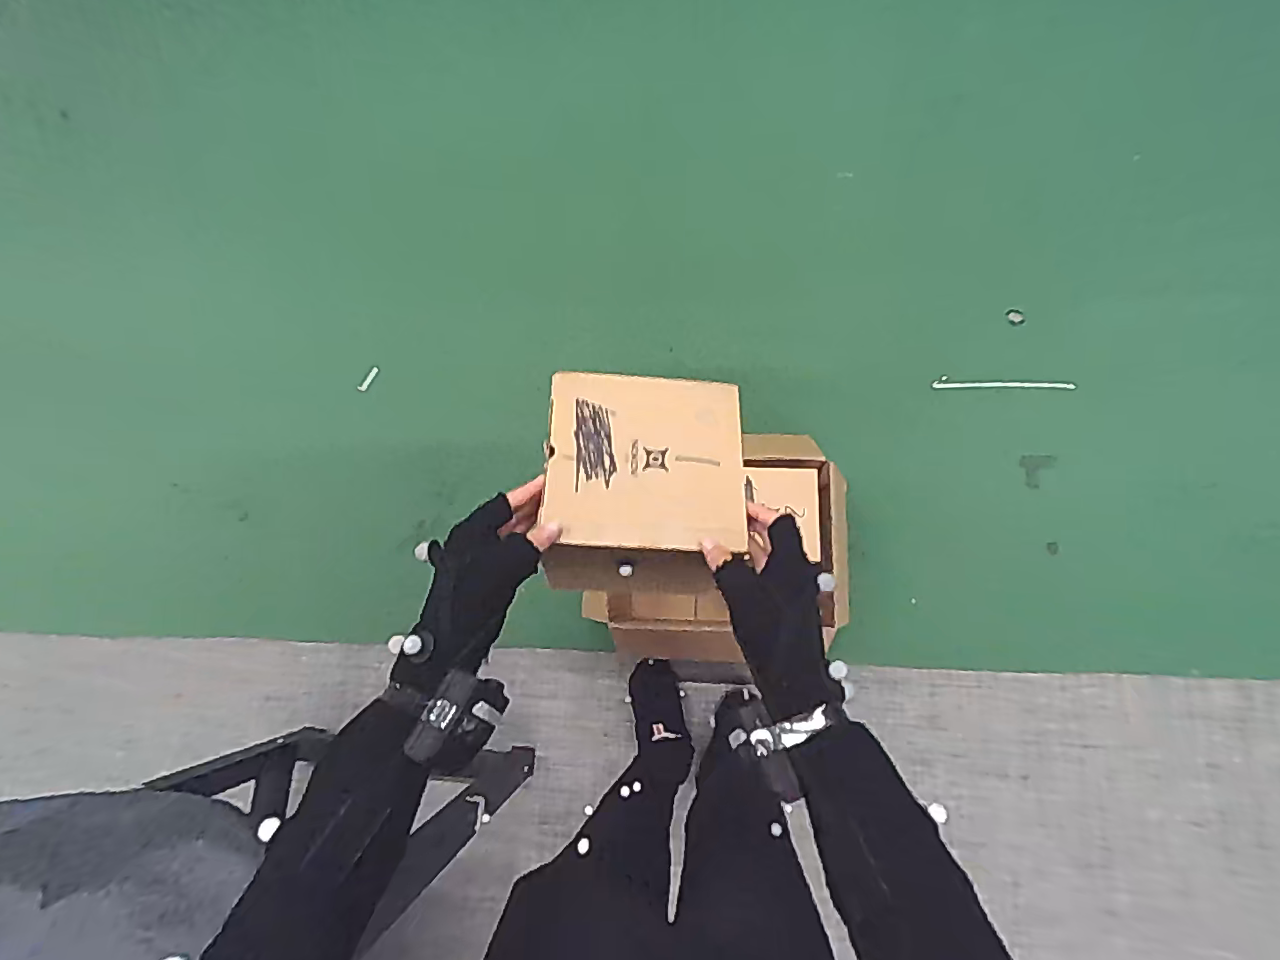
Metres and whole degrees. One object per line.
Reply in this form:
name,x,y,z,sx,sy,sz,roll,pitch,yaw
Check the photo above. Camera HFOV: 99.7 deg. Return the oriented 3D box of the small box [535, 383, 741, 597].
small box,-0.005,0.020,0.554,0.179,0.176,0.168,4,66,-5
